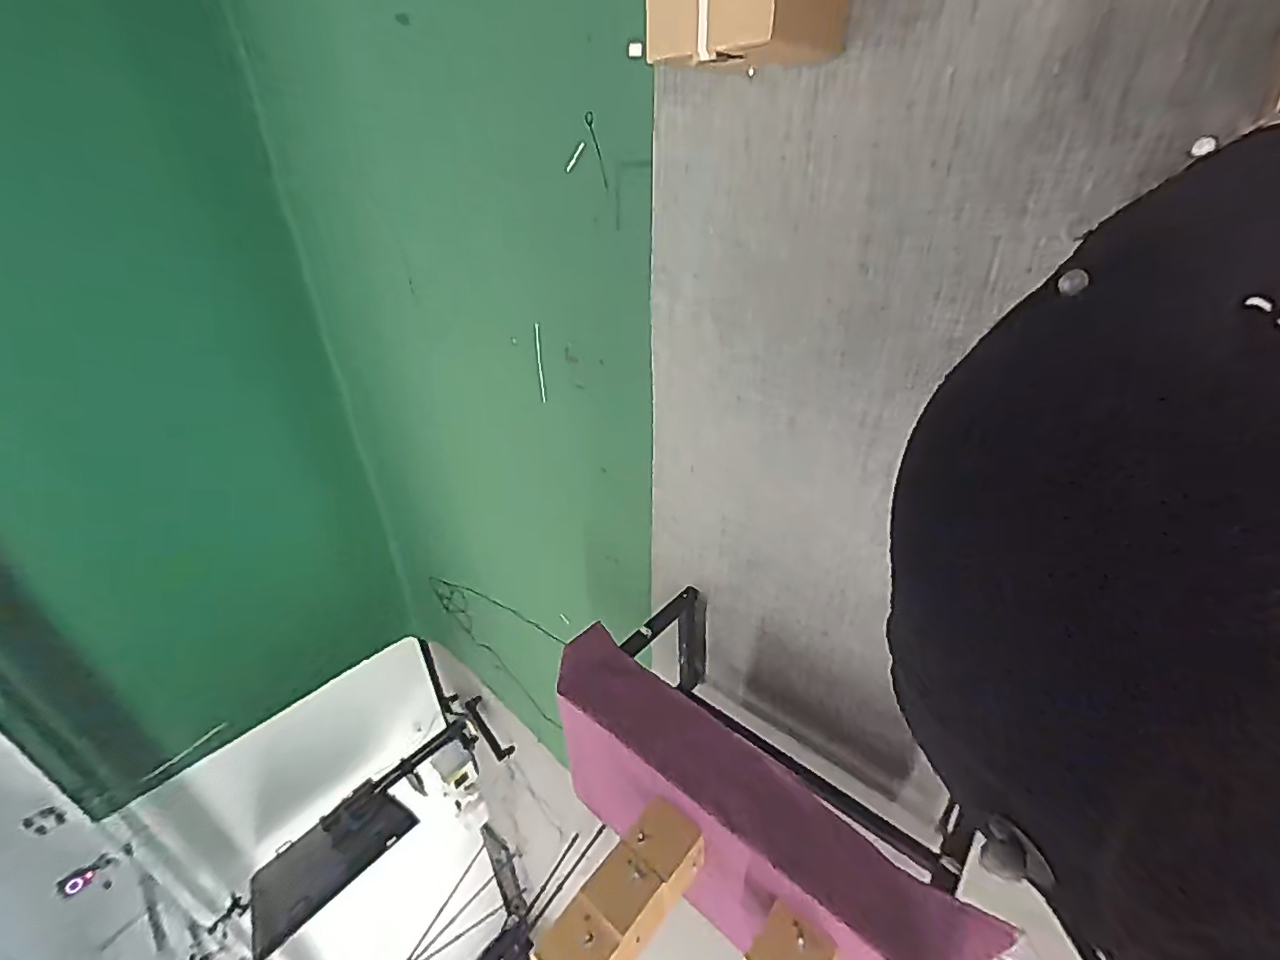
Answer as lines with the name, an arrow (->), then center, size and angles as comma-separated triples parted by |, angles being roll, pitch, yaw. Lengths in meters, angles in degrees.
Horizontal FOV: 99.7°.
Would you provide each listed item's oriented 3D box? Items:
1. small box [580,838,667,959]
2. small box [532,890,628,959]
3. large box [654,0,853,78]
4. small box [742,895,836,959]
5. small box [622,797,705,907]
small box -> -0.040, 1.135, 1.471 | 0.168, 0.176, 0.179 | 20, 126, 37
small box -> -0.145, 1.206, 1.370 | 0.168, 0.176, 0.179 | 18, 125, 38
large box -> 0.240, -1.094, 1.095 | 0.320, 0.320, 0.408 | 24, 128, 36
small box -> 0.366, 1.192, 1.337 | 0.168, 0.176, 0.179 | 23, 128, 36
small box -> 0.068, 1.068, 1.573 | 0.179, 0.176, 0.168 | 22, 129, 37
